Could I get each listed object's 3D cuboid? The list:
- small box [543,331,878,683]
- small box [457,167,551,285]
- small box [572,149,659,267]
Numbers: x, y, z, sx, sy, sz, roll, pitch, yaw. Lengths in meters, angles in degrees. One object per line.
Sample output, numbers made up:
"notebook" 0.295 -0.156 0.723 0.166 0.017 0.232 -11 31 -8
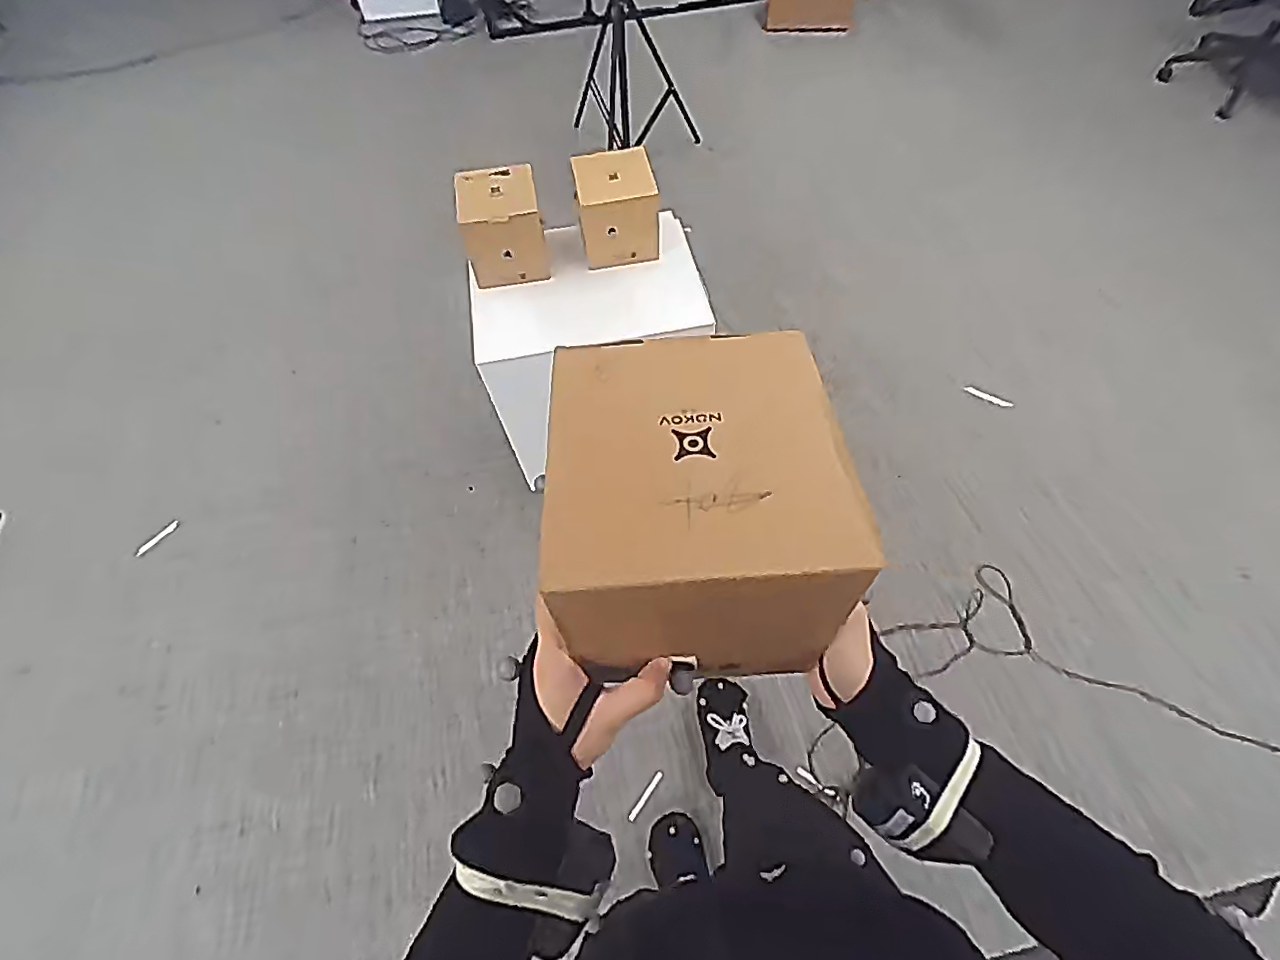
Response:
"small box" 0.033 0.024 0.374 0.168 0.176 0.179 -5 55 0
"small box" -0.297 -0.554 1.201 0.168 0.176 0.179 -10 63 -5
"small box" -0.052 -0.604 1.221 0.168 0.176 0.179 -11 61 -3
